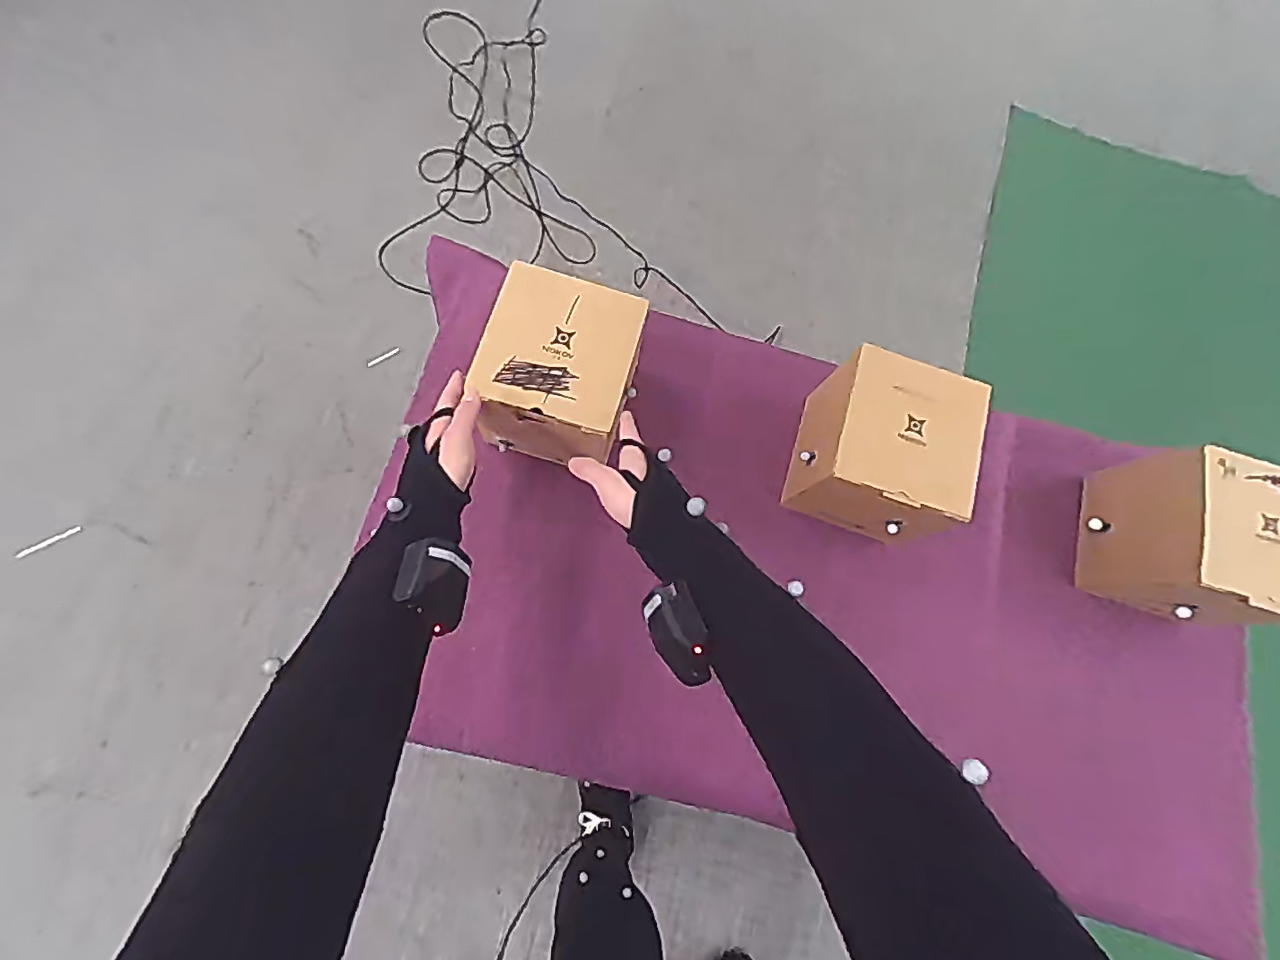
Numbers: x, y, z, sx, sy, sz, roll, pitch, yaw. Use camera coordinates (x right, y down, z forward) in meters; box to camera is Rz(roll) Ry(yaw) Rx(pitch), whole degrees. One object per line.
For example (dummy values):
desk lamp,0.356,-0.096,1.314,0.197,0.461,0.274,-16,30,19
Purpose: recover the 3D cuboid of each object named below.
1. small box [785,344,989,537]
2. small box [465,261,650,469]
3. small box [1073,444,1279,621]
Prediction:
small box,0.304,-0.038,0.697,0.168,0.176,0.179,19,74,-1
small box,-0.096,-0.130,0.677,0.168,0.176,0.179,16,74,-2
small box,0.714,0.078,0.706,0.168,0.176,0.179,18,77,-1
